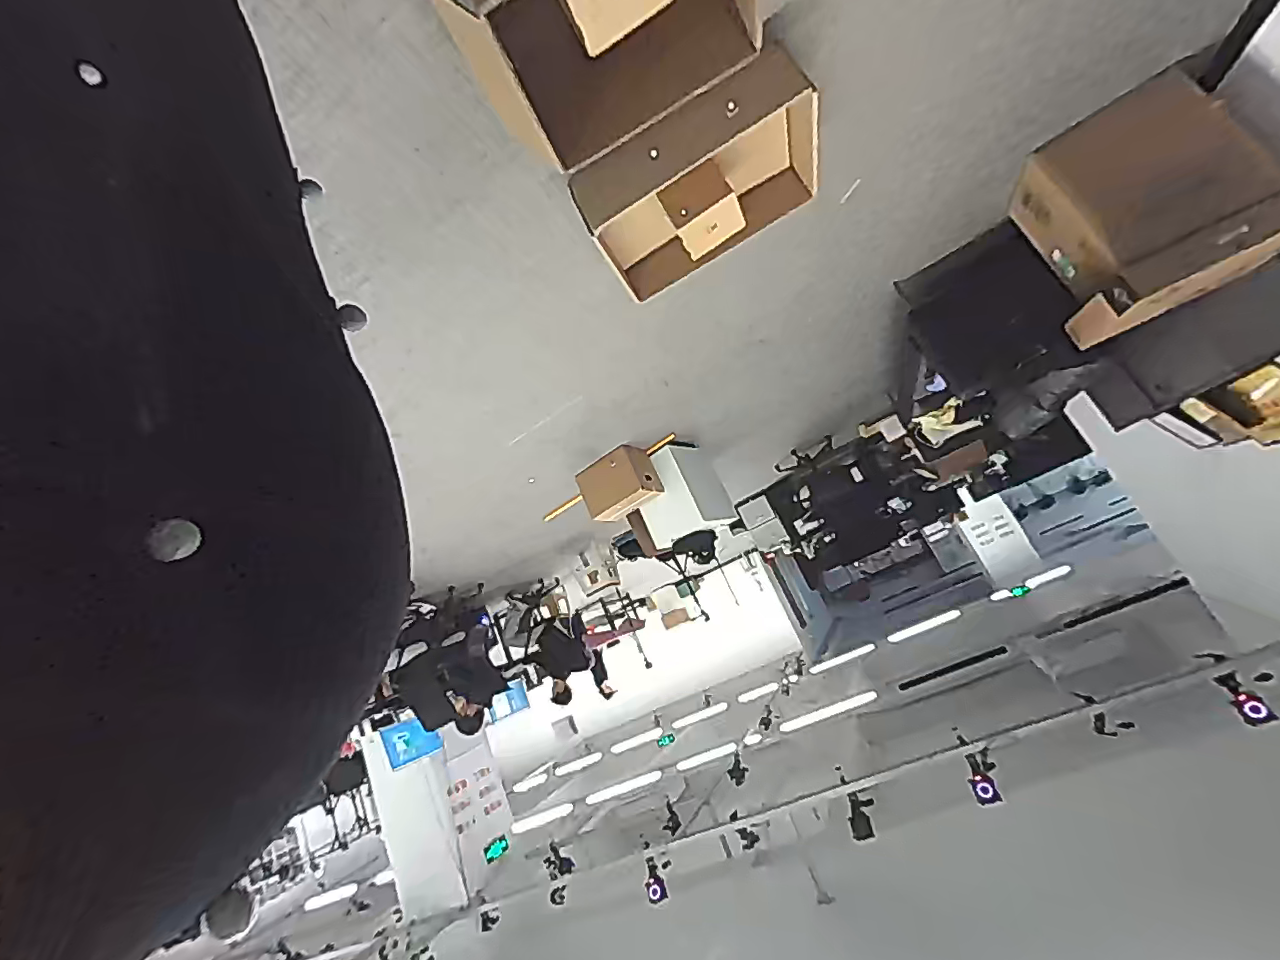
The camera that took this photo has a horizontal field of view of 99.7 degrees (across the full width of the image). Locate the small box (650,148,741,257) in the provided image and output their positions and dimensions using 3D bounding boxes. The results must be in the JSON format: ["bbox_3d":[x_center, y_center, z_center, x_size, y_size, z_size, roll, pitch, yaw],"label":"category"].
[{"bbox_3d":[0.154,-0.770,1.502,0.179,0.176,0.168,-29,164,16],"label":"small box"}]
